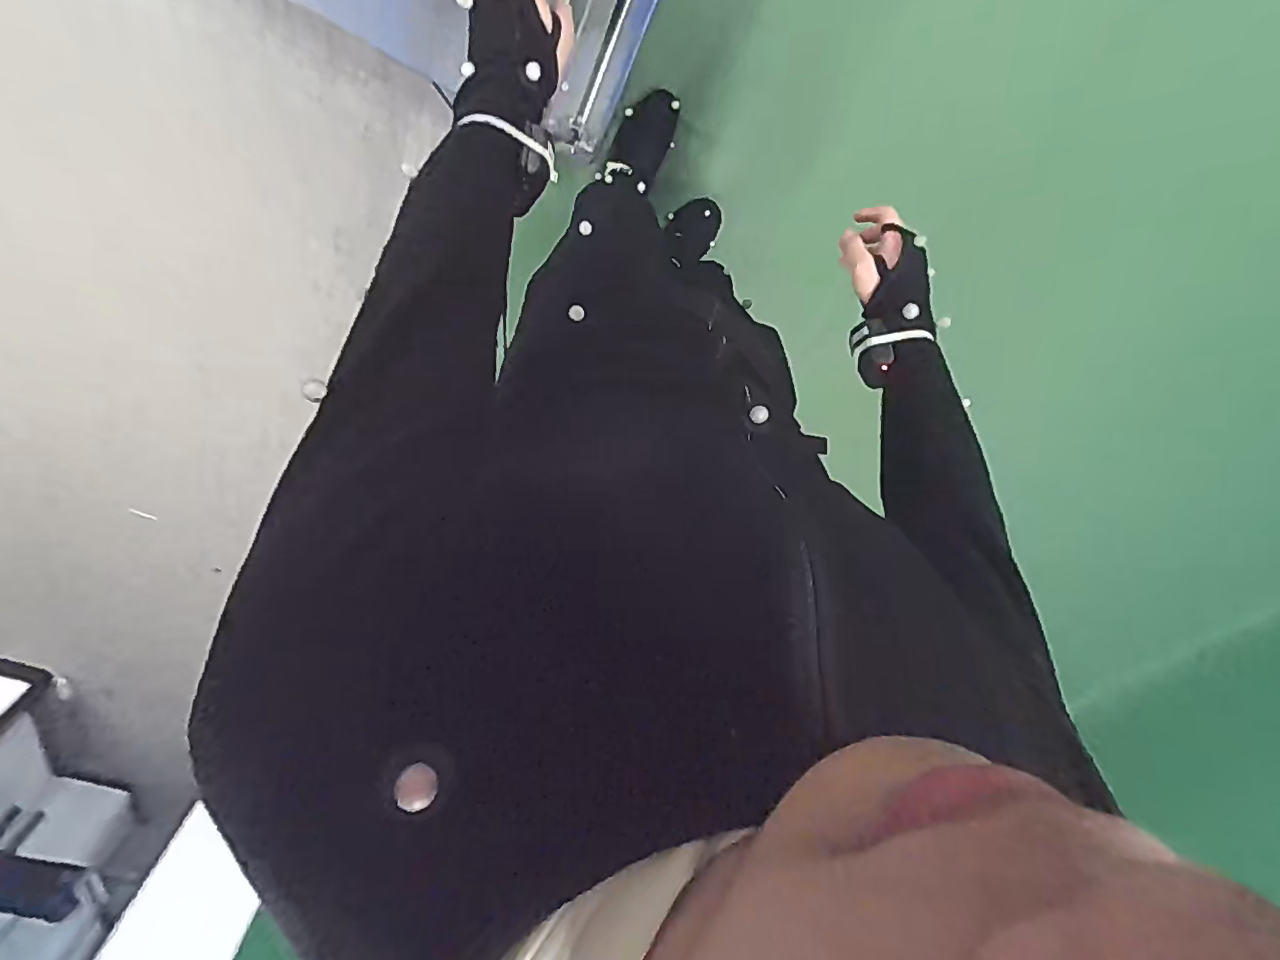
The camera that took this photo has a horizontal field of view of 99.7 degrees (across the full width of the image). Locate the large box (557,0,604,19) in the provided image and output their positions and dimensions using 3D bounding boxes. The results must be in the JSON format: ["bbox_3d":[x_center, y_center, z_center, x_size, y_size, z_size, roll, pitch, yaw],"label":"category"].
[{"bbox_3d":[-0.203,-0.950,0.769,0.408,0.320,0.320,23,123,-13],"label":"large box"}]
